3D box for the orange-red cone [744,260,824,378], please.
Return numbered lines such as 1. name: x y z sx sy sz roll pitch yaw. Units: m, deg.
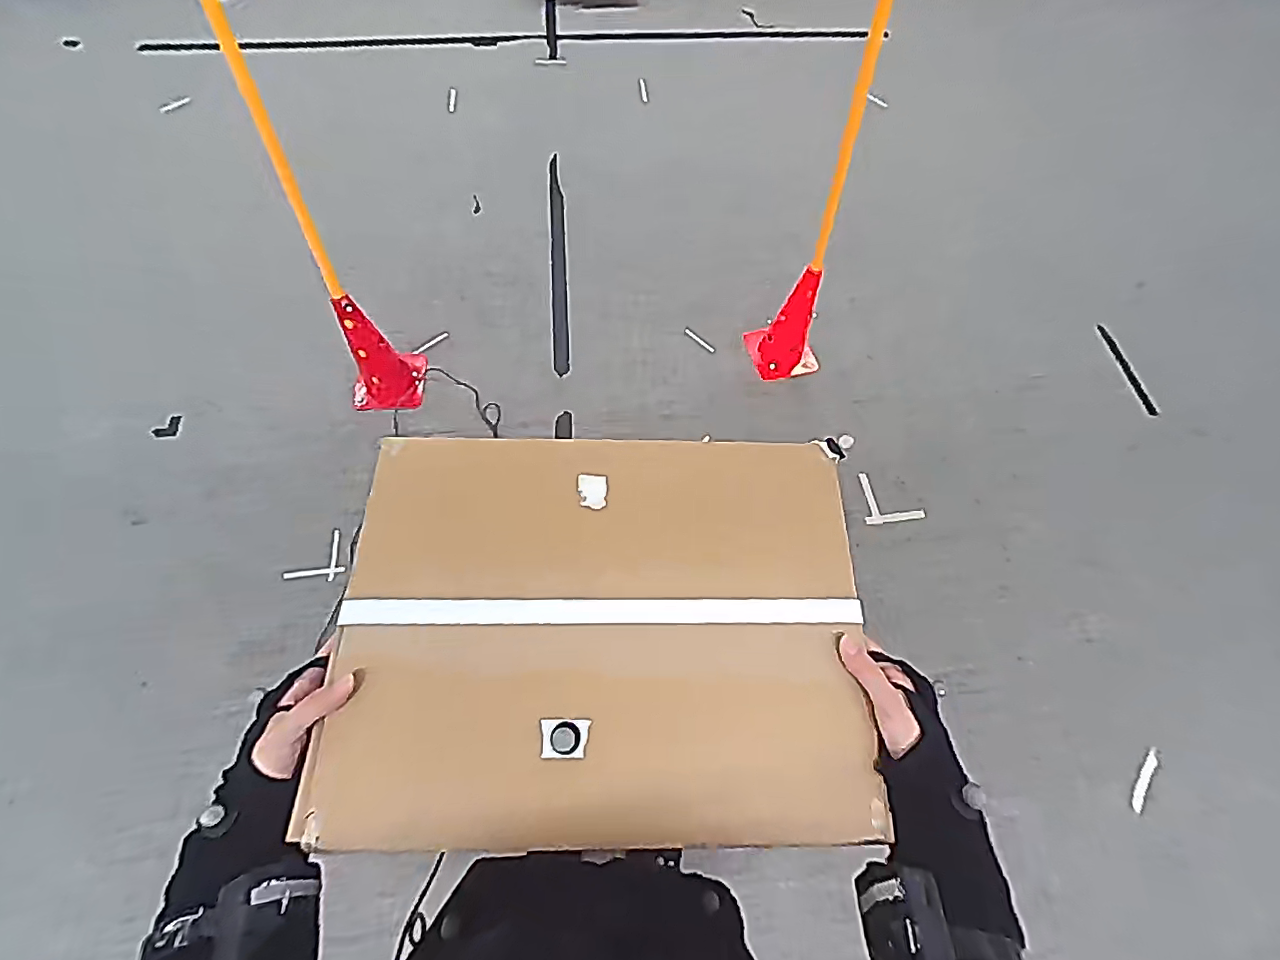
1. orange-red cone: 0.456 -0.487 1.568 0.199 0.360 0.198 -12 67 -9
